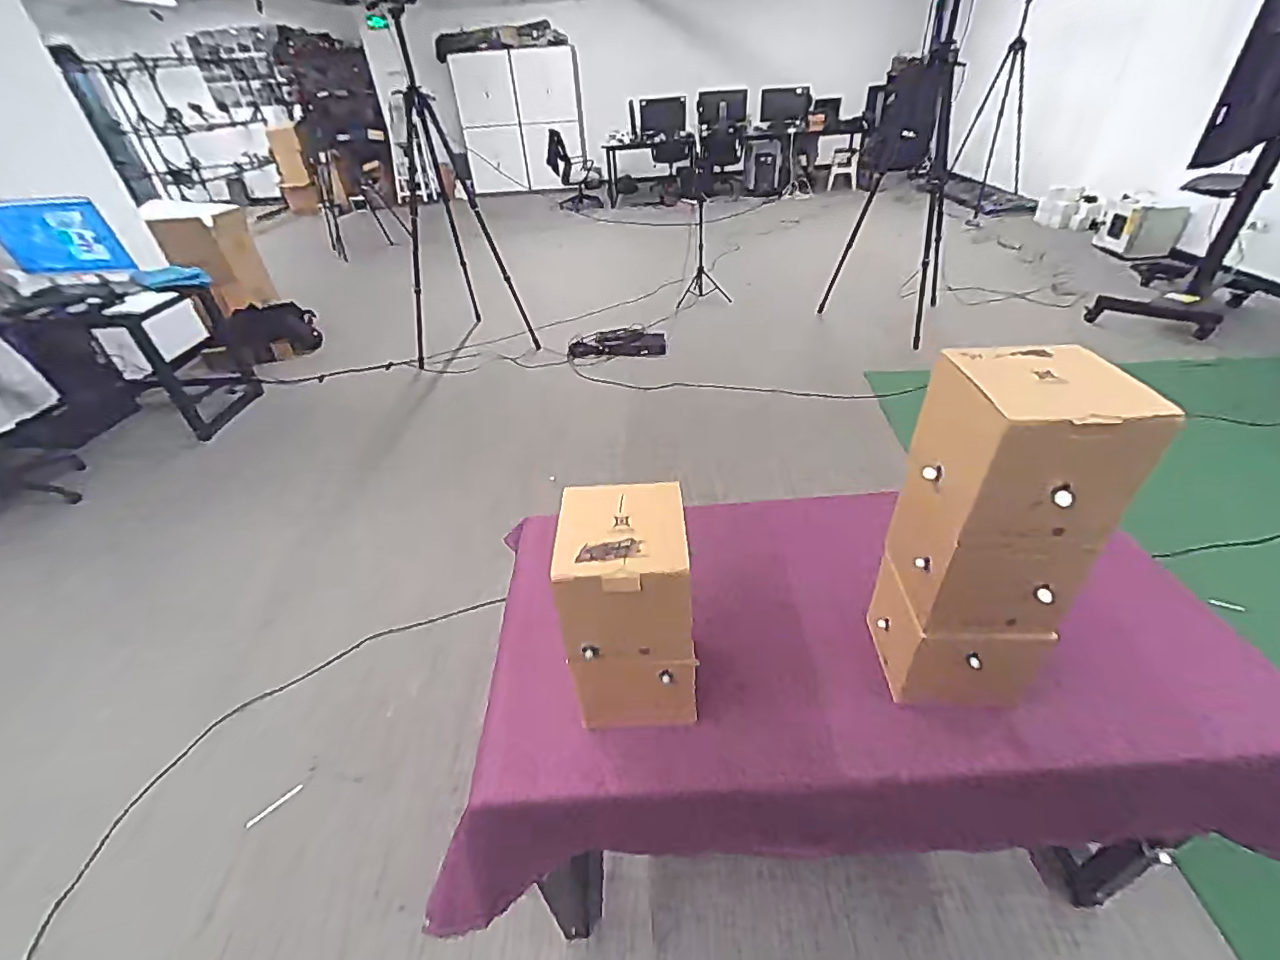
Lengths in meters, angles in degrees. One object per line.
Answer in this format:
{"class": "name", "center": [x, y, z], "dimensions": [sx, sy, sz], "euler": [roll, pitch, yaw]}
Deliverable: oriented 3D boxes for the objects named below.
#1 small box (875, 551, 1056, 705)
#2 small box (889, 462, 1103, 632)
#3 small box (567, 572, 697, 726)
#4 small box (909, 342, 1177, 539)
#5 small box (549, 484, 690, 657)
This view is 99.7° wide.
{"class": "small box", "center": [0.470, 0.222, 0.821], "dimensions": [0.179, 0.176, 0.168], "euler": [-1, 38, 6]}
{"class": "small box", "center": [0.457, 0.087, 0.731], "dimensions": [0.168, 0.176, 0.179], "euler": [-1, 36, 6]}
{"class": "small box", "center": [-0.006, 0.261, 0.836], "dimensions": [0.179, 0.176, 0.168], "euler": [-3, 37, 2]}
{"class": "small box", "center": [0.441, -0.044, 0.633], "dimensions": [0.168, 0.176, 0.179], "euler": [-1, 38, 5]}
{"class": "small box", "center": [-0.020, 0.127, 0.742], "dimensions": [0.168, 0.176, 0.179], "euler": [-3, 35, 2]}
